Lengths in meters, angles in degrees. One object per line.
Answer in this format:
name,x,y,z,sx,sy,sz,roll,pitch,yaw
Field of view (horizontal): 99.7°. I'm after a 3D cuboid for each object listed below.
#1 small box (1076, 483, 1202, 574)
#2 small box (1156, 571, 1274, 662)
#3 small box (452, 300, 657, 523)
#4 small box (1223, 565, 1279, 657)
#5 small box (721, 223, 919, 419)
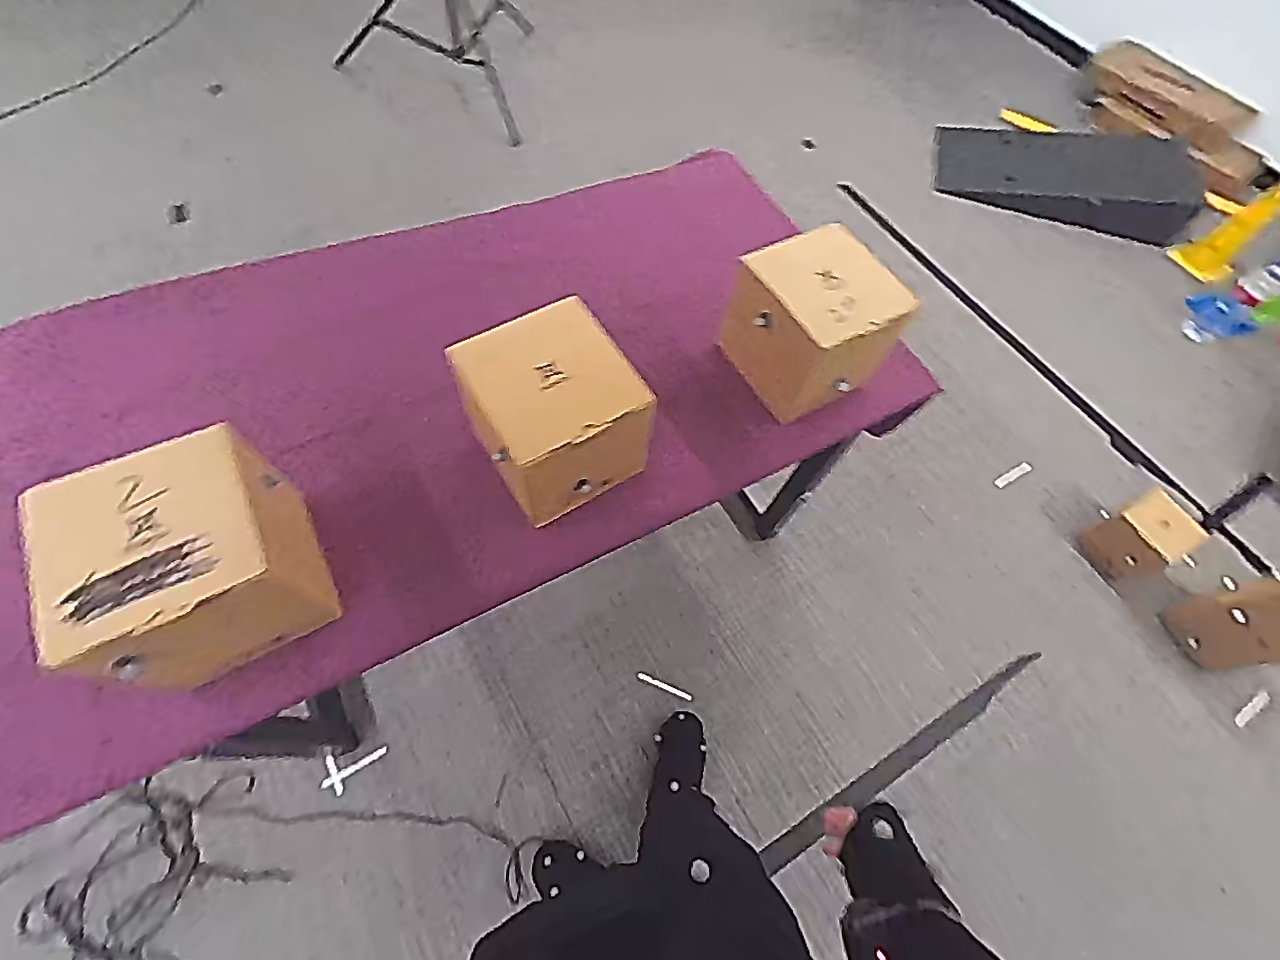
small box,1.393,0.143,1.526,0.179,0.176,0.168,-27,70,-19
small box,1.552,0.368,1.429,0.168,0.176,0.179,-22,68,-15
small box,-0.103,-0.077,0.660,0.168,0.176,0.179,-30,71,-19
small box,1.563,0.299,1.279,0.179,0.176,0.168,-23,68,-17
small box,0.237,-0.219,0.765,0.168,0.176,0.179,-27,69,-16
